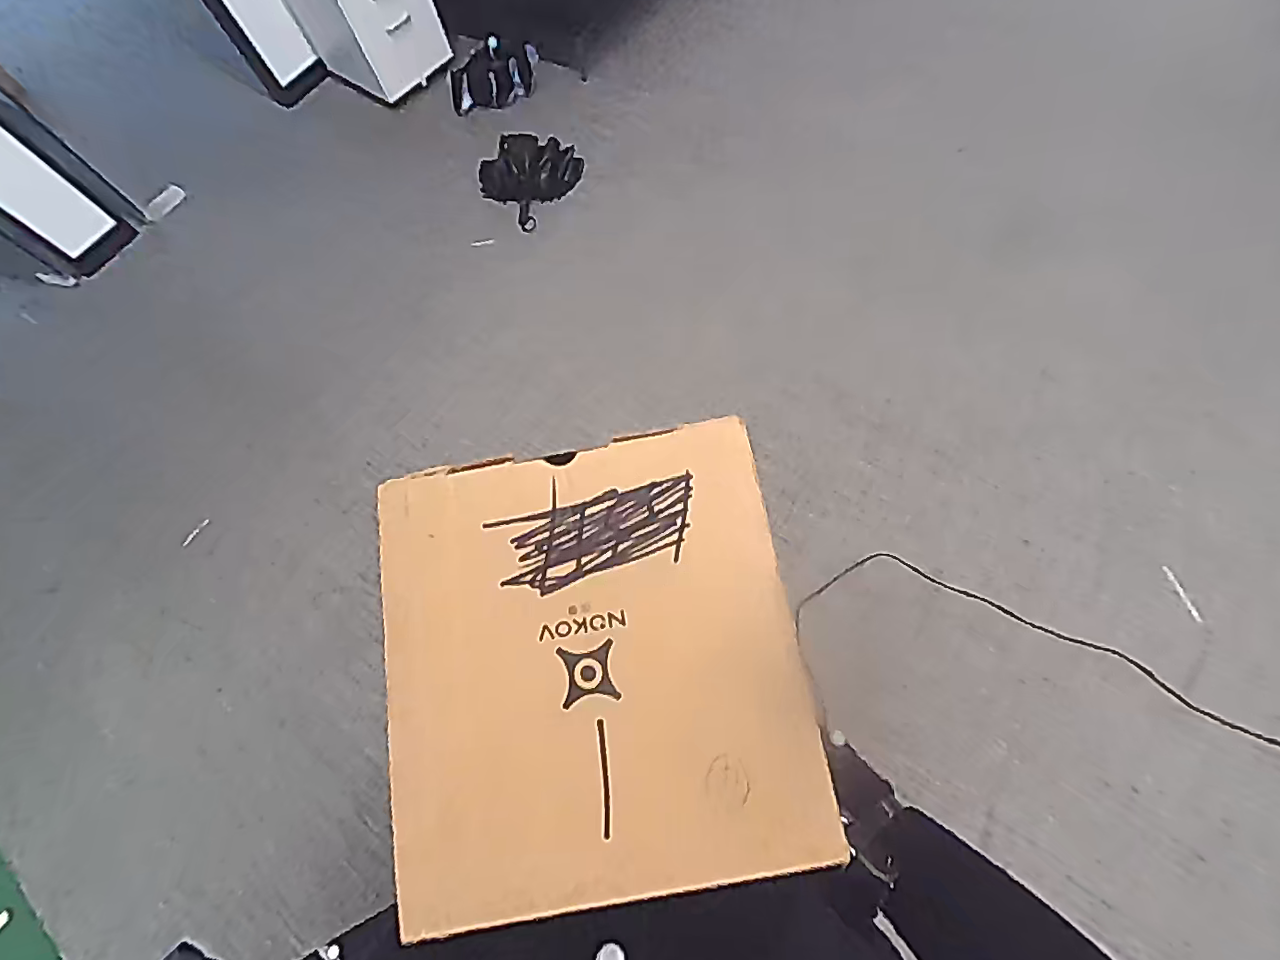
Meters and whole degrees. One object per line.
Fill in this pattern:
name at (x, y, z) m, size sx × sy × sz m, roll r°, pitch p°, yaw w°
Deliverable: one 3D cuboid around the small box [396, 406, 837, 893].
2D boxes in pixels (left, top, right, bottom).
small box at (-0.016, 0.082, 0.303) m, size 0.168 × 0.176 × 0.179 m, roll -11°, pitch 74°, yaw 0°
